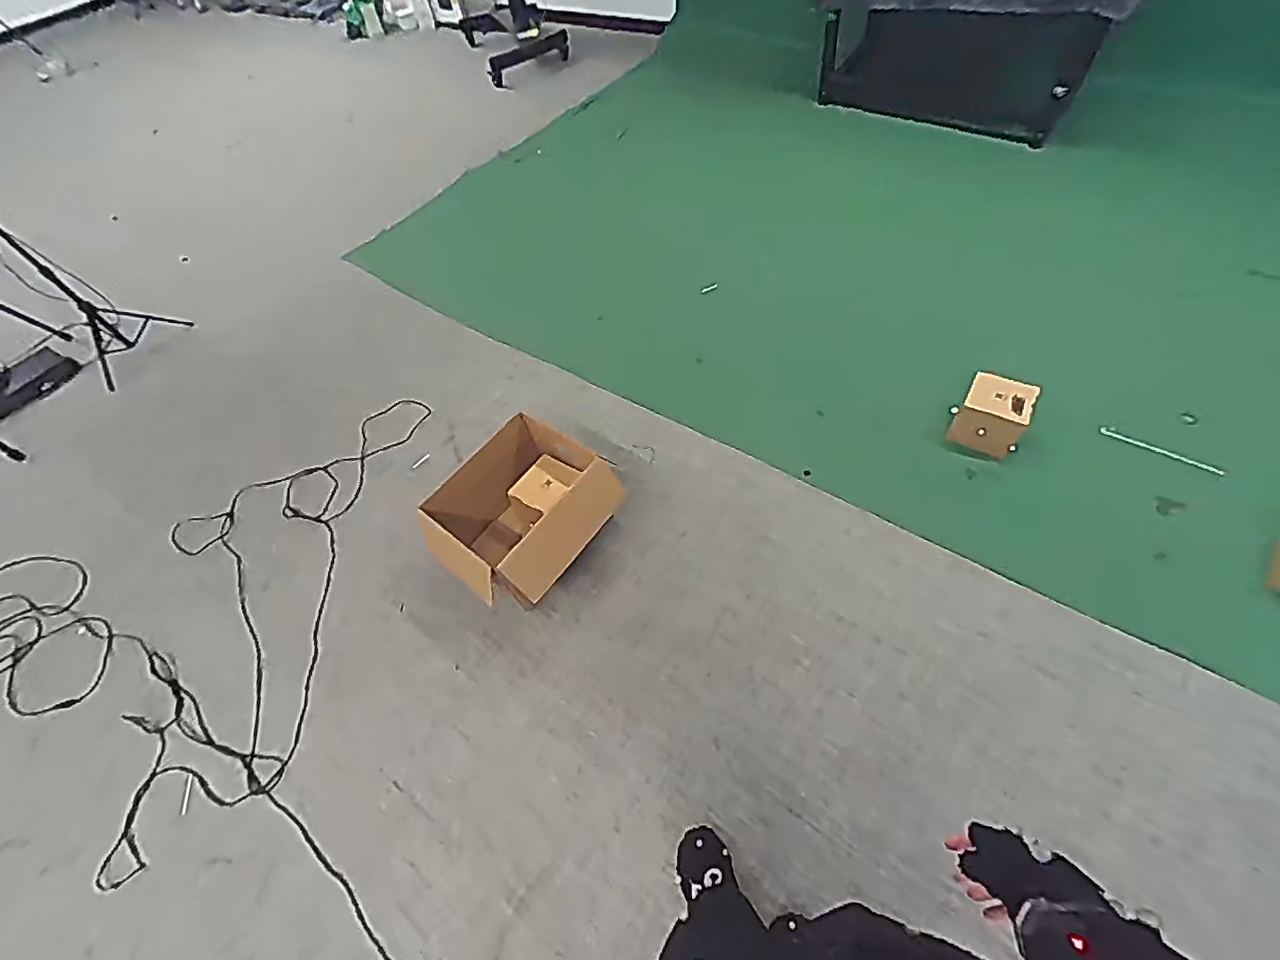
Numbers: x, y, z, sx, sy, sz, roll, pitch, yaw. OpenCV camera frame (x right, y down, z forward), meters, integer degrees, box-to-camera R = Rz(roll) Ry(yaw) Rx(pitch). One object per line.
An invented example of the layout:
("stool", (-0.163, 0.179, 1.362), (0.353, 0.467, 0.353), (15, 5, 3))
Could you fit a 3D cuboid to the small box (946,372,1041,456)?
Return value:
("small box", (1.089, -0.198, 1.675), (0.179, 0.176, 0.168), (25, 62, 24))
